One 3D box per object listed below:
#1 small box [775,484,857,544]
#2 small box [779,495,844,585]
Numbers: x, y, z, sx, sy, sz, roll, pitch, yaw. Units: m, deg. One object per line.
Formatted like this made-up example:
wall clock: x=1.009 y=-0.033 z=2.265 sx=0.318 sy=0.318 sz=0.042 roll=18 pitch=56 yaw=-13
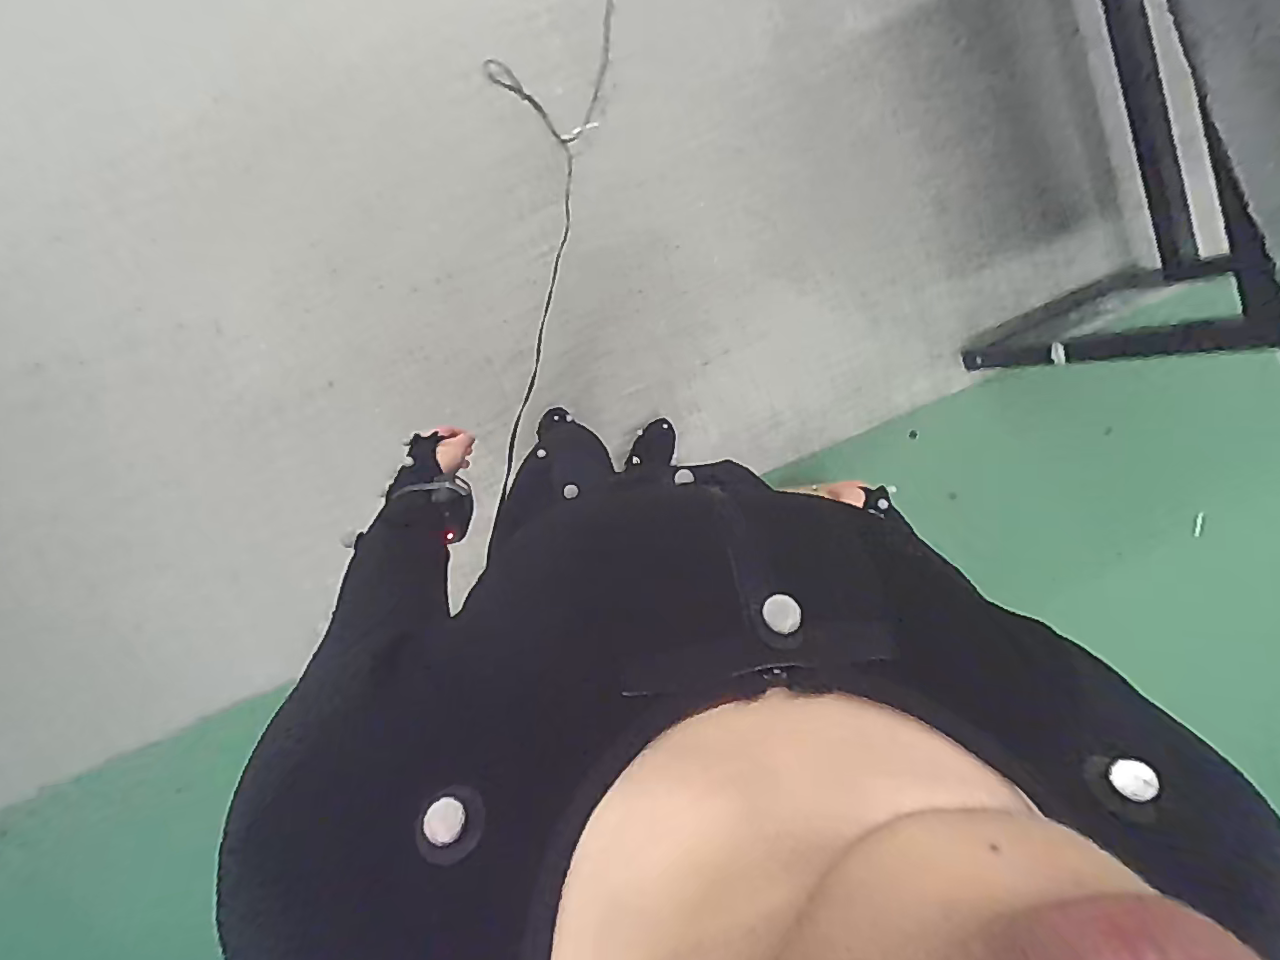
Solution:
small box: x=0.468 y=0.111 z=1.452 sx=0.168 sy=0.176 sz=0.179 roll=-7 pitch=100 yaw=-3
small box: x=0.450 y=0.144 z=1.290 sx=0.168 sy=0.176 sz=0.179 roll=13 pitch=99 yaw=-5
